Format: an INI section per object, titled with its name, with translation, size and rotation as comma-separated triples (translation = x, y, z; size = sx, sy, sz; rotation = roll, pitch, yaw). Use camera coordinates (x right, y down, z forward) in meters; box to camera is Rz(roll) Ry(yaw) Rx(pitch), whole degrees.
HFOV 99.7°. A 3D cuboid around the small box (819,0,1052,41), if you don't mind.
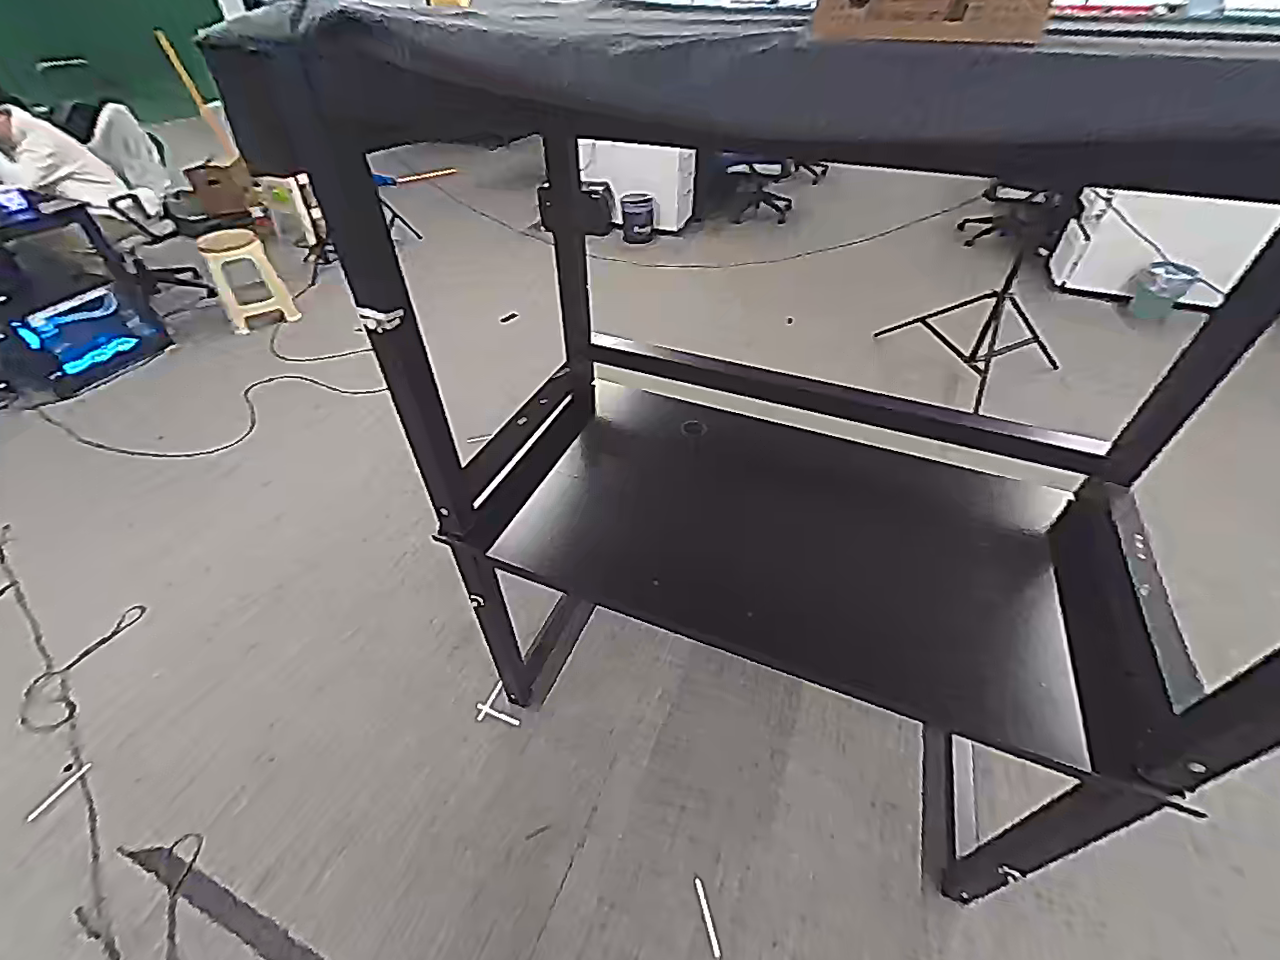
[small box]
translation = 0.245, -0.451, 0.418
size = 0.168, 0.176, 0.179
rotation = 15, 43, 16
